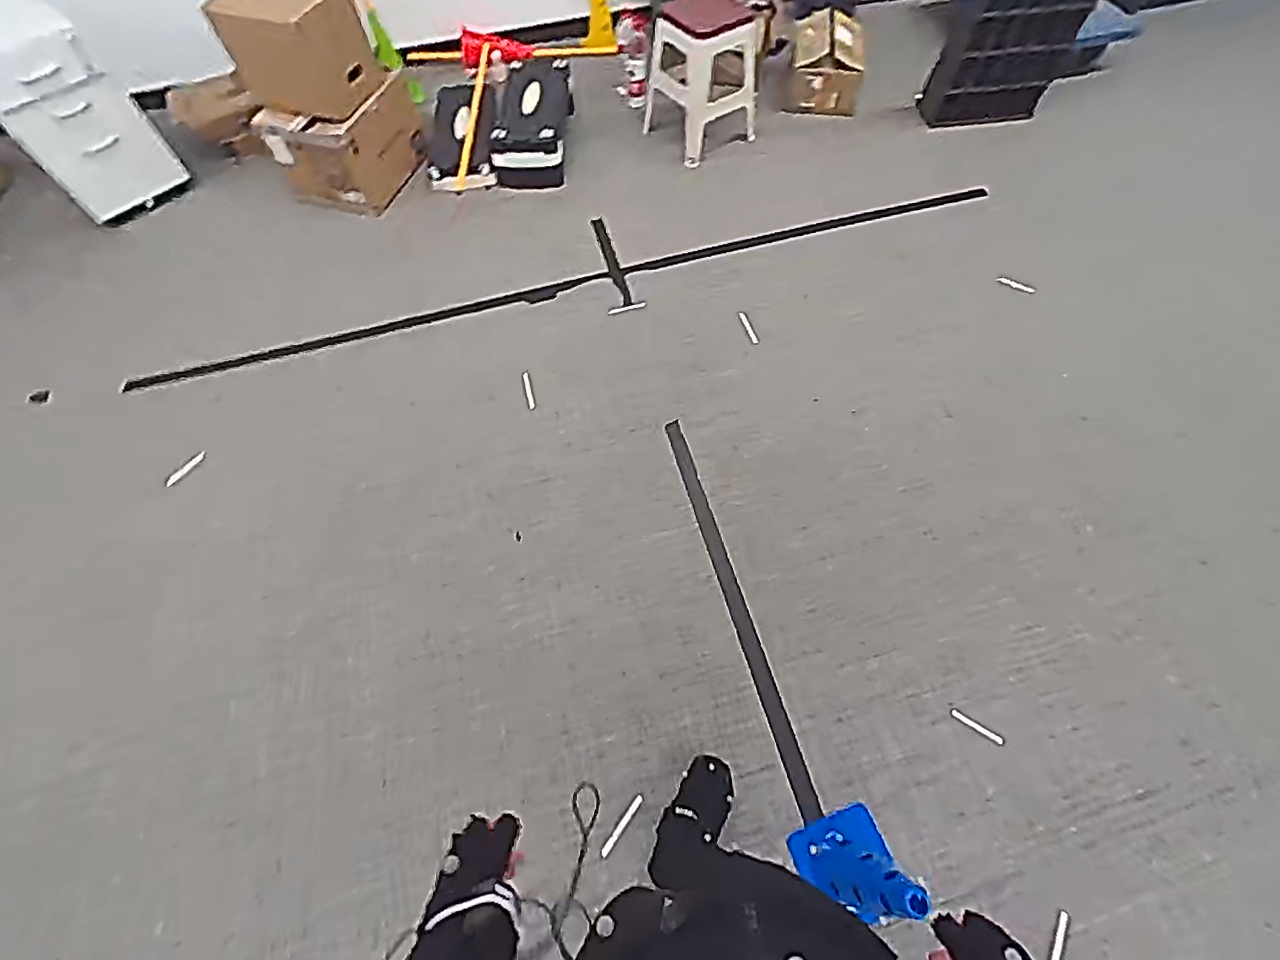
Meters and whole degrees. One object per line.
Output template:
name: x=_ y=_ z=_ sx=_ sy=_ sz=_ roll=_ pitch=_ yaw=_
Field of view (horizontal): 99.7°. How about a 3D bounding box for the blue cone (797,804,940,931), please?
blue cone: x=0.444 y=0.741 z=1.006 sx=0.192 sy=0.380 sz=0.193 roll=-17 pitch=62 yaw=-9
